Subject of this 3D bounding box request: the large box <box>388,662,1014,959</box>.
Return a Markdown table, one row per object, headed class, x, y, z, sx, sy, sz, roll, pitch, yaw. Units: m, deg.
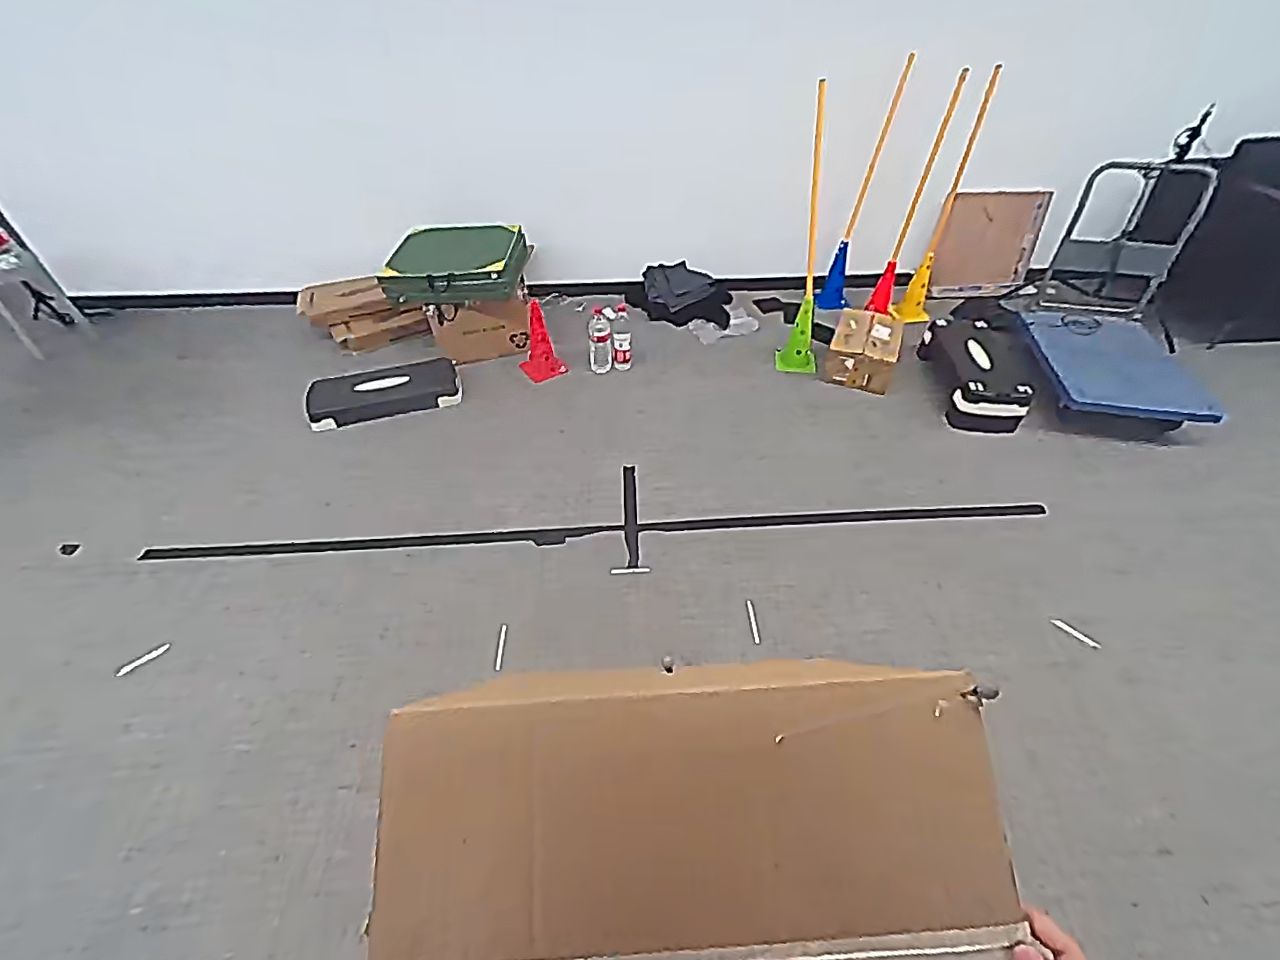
| class | x | y | z | sx | sy | sz | roll | pitch | yaw |
| --- | --- | --- | --- | --- | --- | --- | --- | --- | --- |
| large box | 0.036 | 0.345 | 0.484 | 0.408 | 0.320 | 0.320 | -4 | 75 | -2 |
